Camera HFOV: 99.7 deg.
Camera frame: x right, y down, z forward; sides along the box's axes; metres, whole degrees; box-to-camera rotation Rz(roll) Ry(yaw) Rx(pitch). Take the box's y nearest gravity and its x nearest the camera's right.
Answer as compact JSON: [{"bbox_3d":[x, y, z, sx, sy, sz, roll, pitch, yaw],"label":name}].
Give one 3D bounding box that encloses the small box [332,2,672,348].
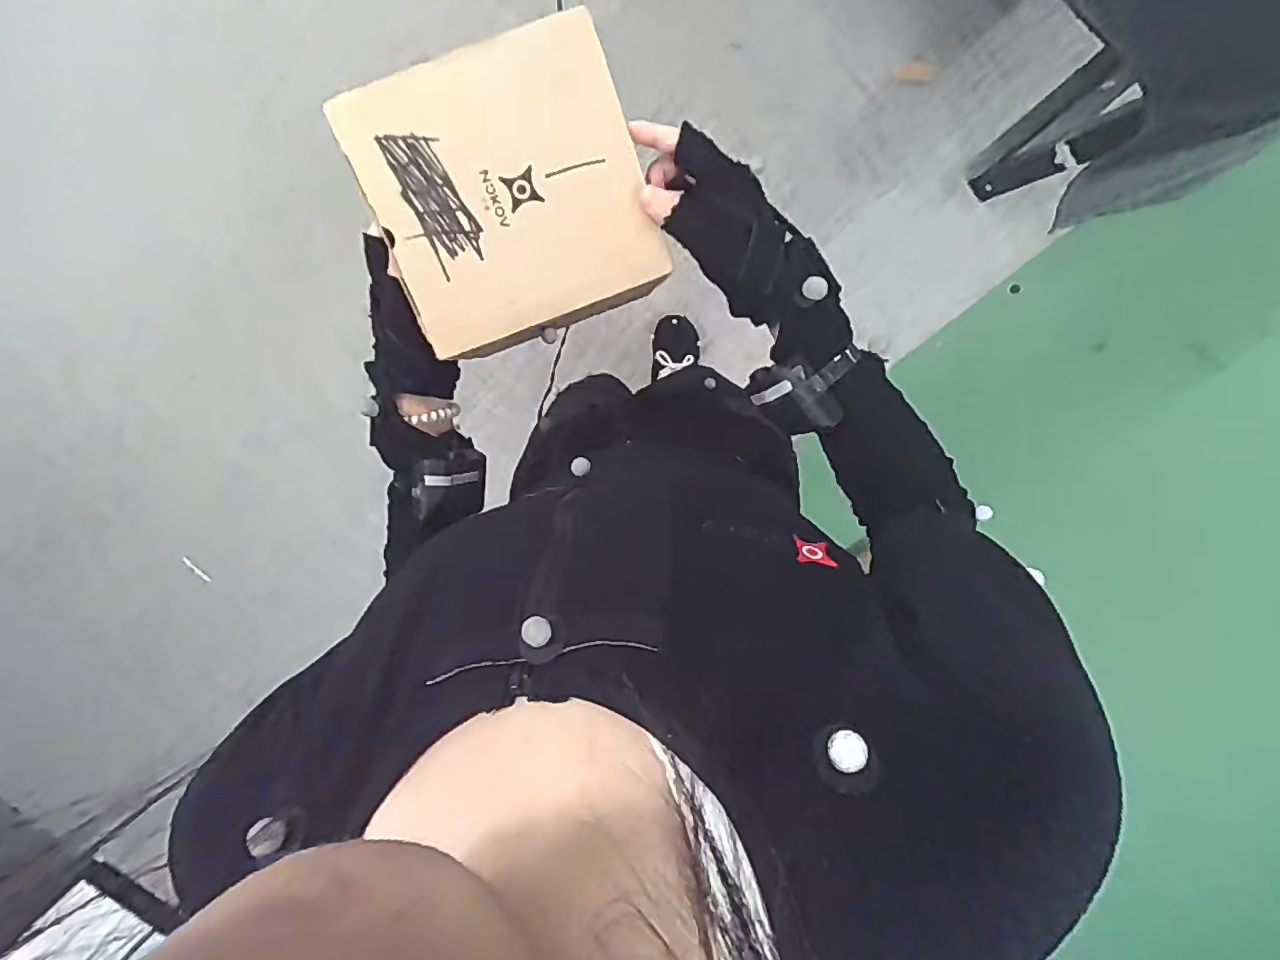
[{"bbox_3d":[-0.092,-0.210,0.430,0.179,0.176,0.168,-22,105,-1],"label":"small box"}]
